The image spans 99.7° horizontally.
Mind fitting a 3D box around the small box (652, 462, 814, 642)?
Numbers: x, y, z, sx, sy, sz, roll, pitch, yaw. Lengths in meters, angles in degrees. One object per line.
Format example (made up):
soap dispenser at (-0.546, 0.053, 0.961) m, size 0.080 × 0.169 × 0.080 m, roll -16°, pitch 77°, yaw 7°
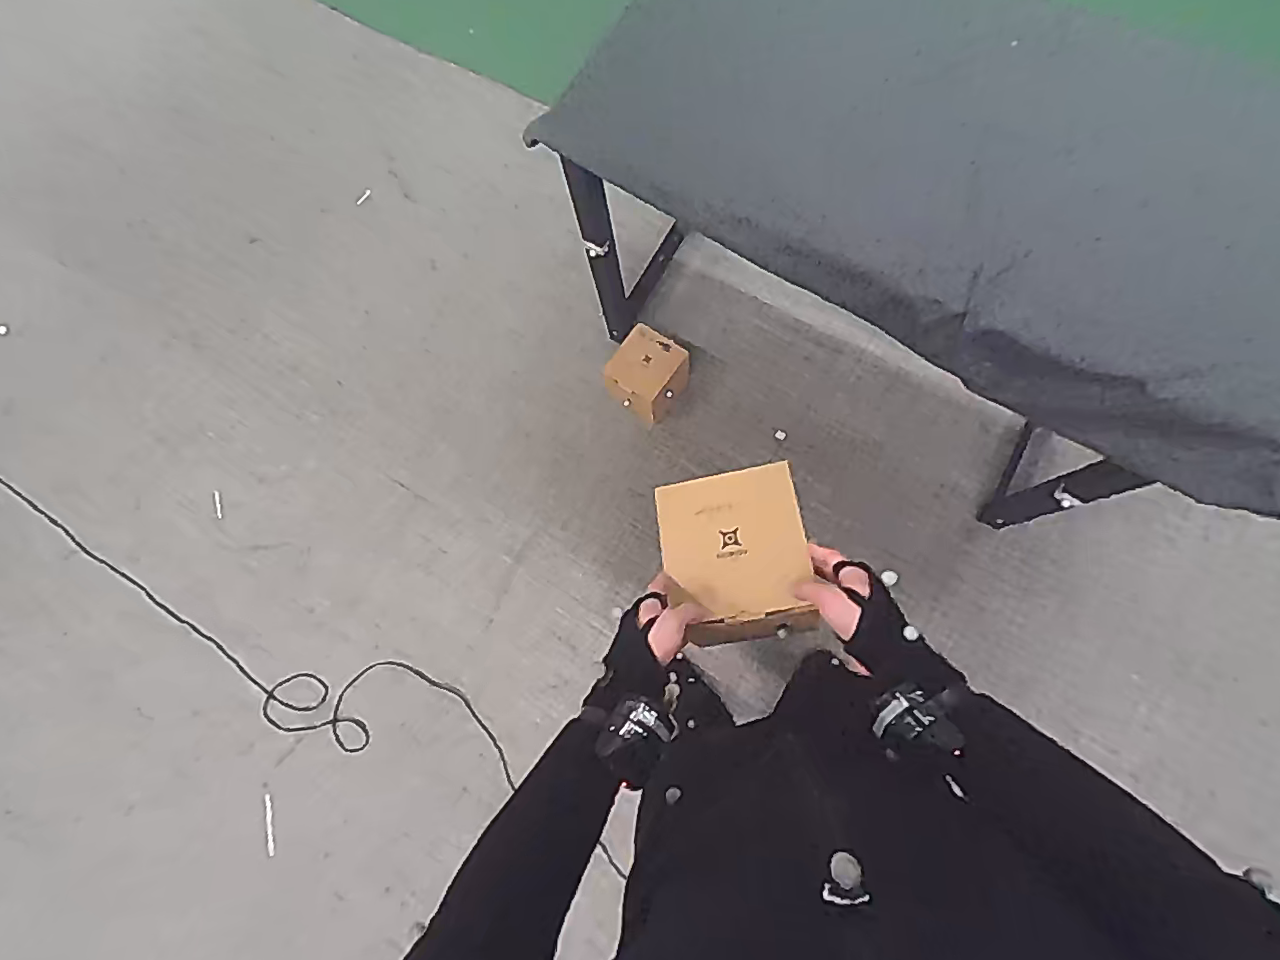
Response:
small box at (0.122, 0.103, 0.687) m, size 0.168 × 0.176 × 0.179 m, roll -12°, pitch 62°, yaw 12°
